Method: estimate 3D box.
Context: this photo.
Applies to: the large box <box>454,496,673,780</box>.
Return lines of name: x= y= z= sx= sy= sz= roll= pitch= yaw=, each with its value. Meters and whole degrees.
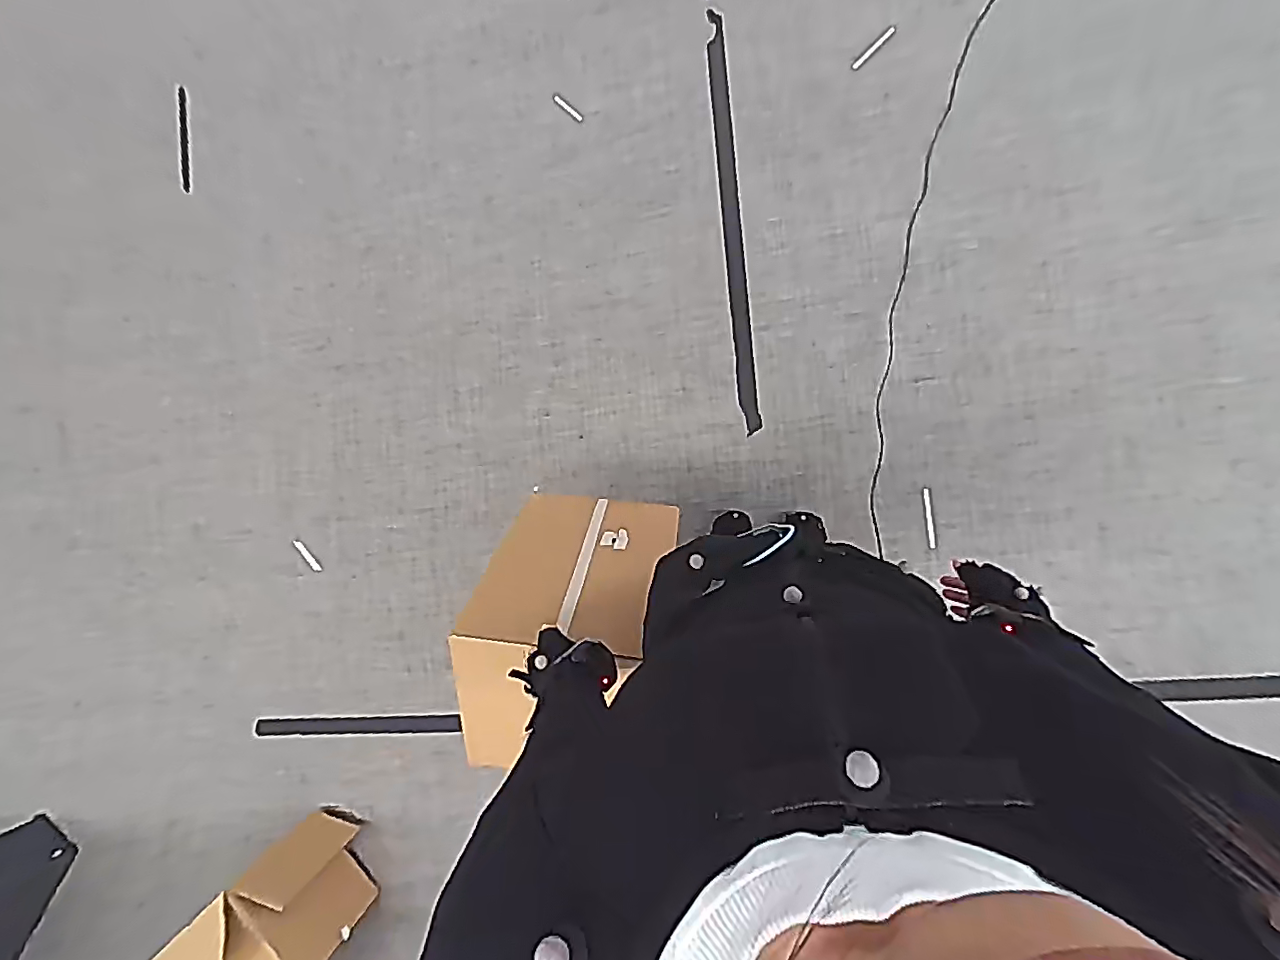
large box: x=-0.112 y=0.274 z=1.021 sx=0.320 sy=0.408 sz=0.320 roll=7 pitch=119 yaw=4
